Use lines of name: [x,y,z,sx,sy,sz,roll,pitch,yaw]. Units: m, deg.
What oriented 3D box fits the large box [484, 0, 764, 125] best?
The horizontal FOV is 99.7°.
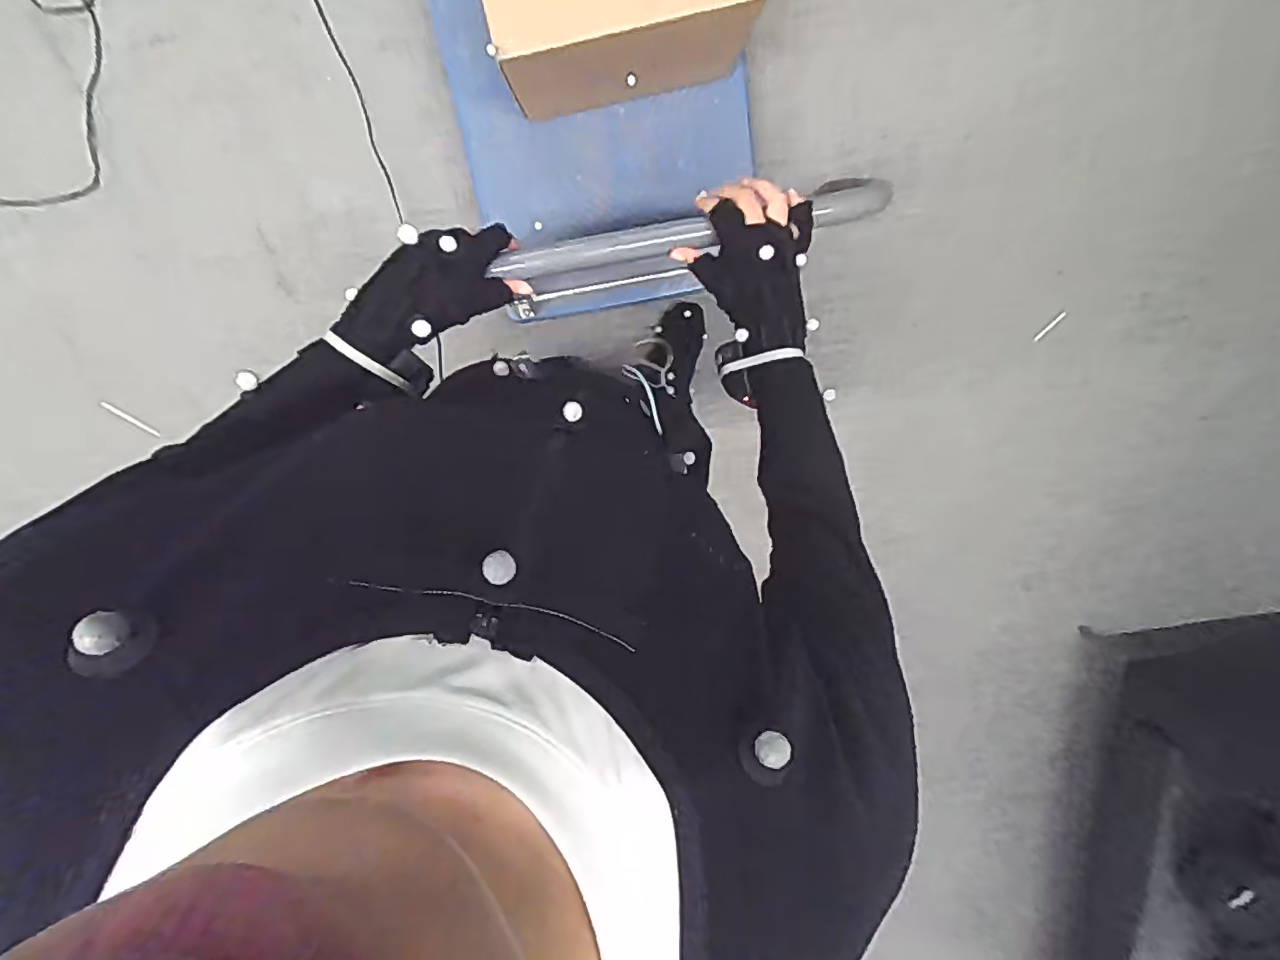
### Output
large box: [-0.045,-0.838,0.883,0.408,0.320,0.320,-12,108,3]
